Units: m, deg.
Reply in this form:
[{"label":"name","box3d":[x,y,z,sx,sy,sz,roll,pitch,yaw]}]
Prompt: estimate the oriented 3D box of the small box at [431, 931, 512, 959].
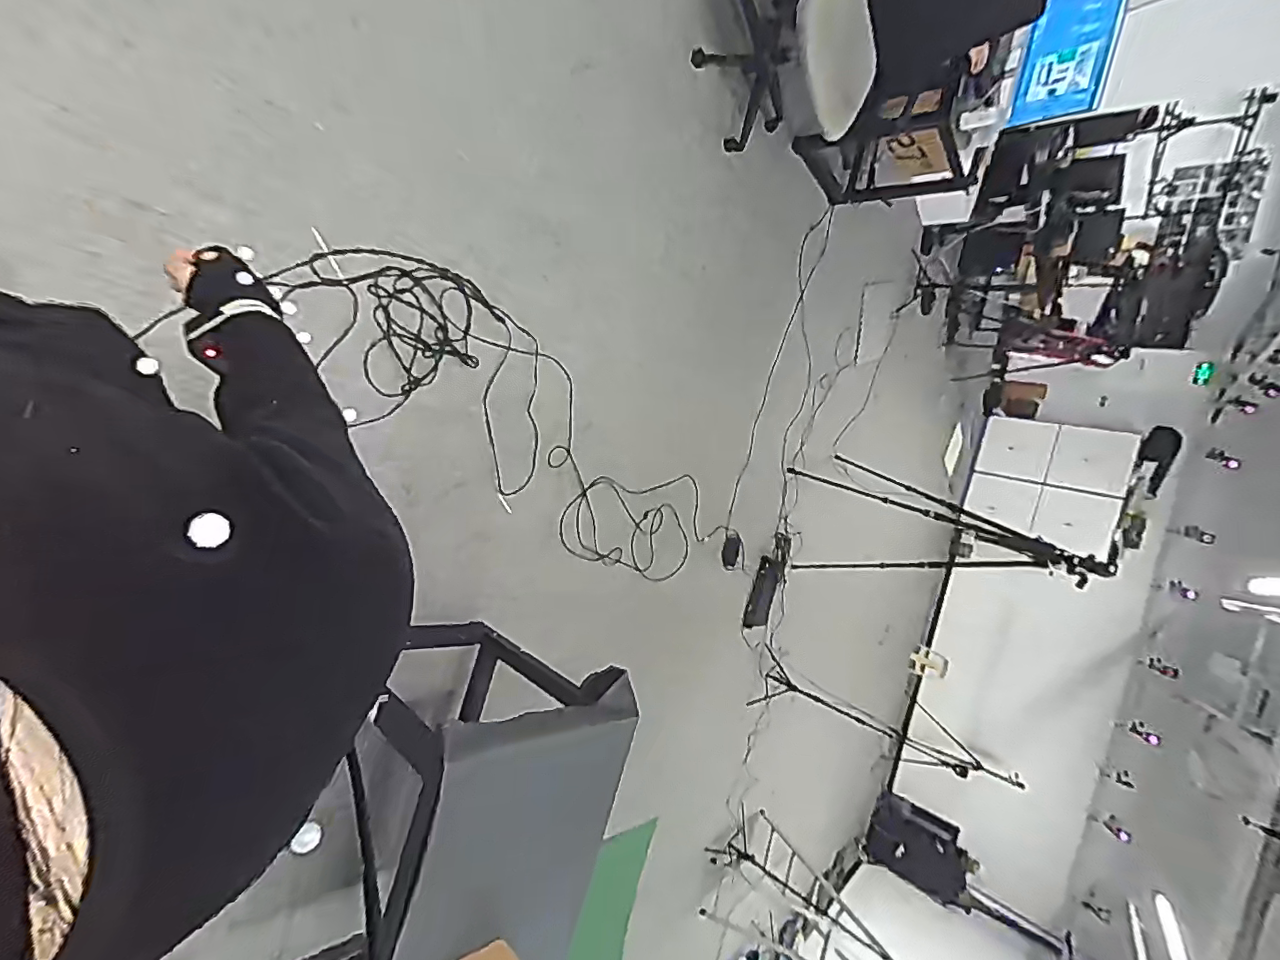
[{"label":"small box","box3d":[-0.358,1.095,1.119,0.179,0.176,0.168,25,83,-52]}]
